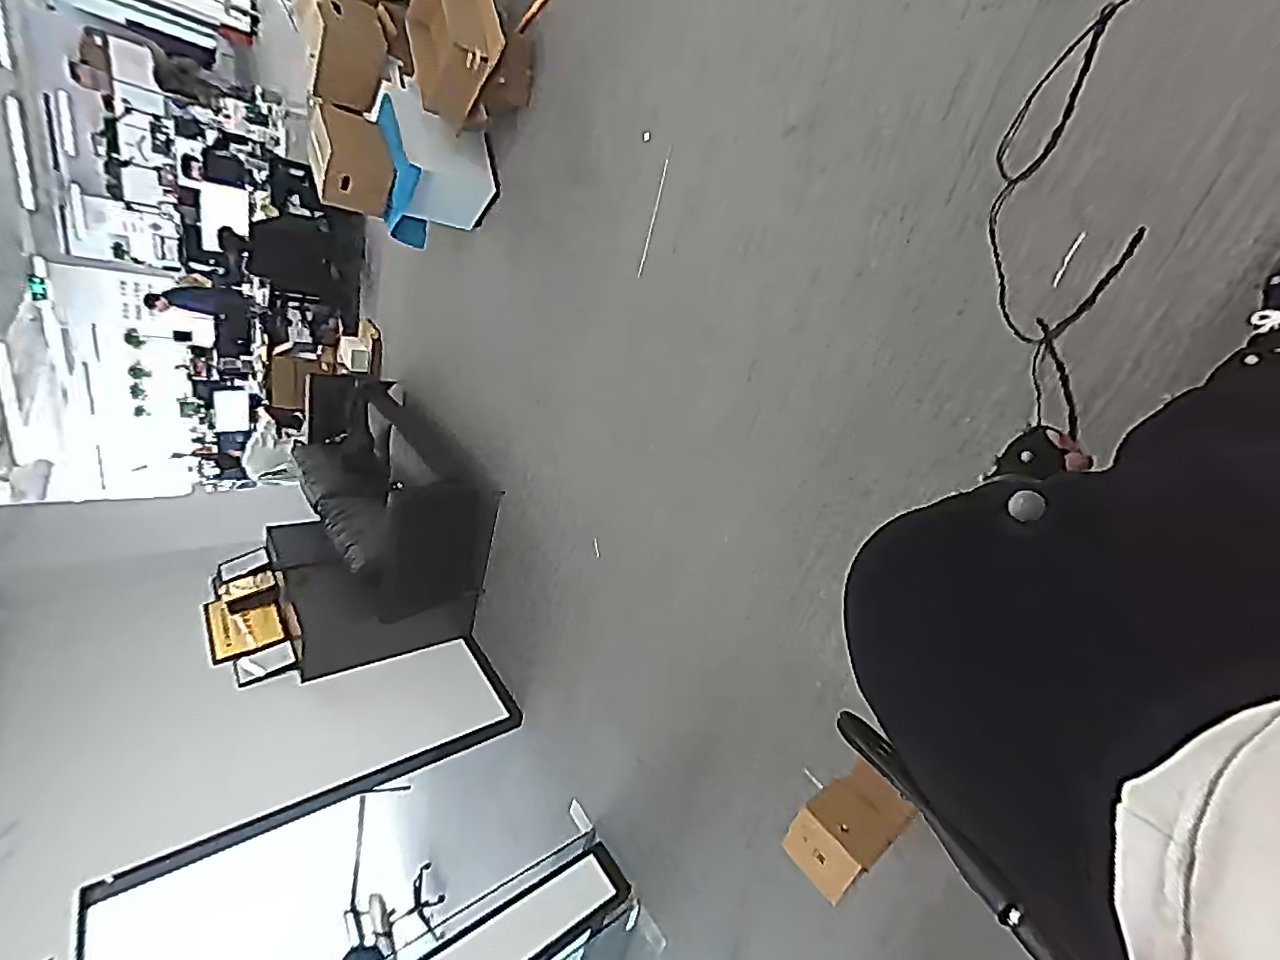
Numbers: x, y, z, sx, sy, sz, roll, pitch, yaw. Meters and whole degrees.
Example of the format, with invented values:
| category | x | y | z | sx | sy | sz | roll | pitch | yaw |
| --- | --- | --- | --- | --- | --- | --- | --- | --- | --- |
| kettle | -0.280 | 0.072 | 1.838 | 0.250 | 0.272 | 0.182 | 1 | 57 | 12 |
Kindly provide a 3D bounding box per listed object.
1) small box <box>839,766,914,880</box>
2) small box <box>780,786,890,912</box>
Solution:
| category | x | y | z | sx | sy | sz | roll | pitch | yaw |
| --- | --- | --- | --- | --- | --- | --- | --- | --- | --- |
| small box | 0.625 | 0.933 | 1.490 | 0.168 | 0.176 | 0.179 | 36 | 120 | 41 |
| small box | 0.500 | 0.931 | 1.381 | 0.179 | 0.176 | 0.168 | 37 | 120 | 41 |
